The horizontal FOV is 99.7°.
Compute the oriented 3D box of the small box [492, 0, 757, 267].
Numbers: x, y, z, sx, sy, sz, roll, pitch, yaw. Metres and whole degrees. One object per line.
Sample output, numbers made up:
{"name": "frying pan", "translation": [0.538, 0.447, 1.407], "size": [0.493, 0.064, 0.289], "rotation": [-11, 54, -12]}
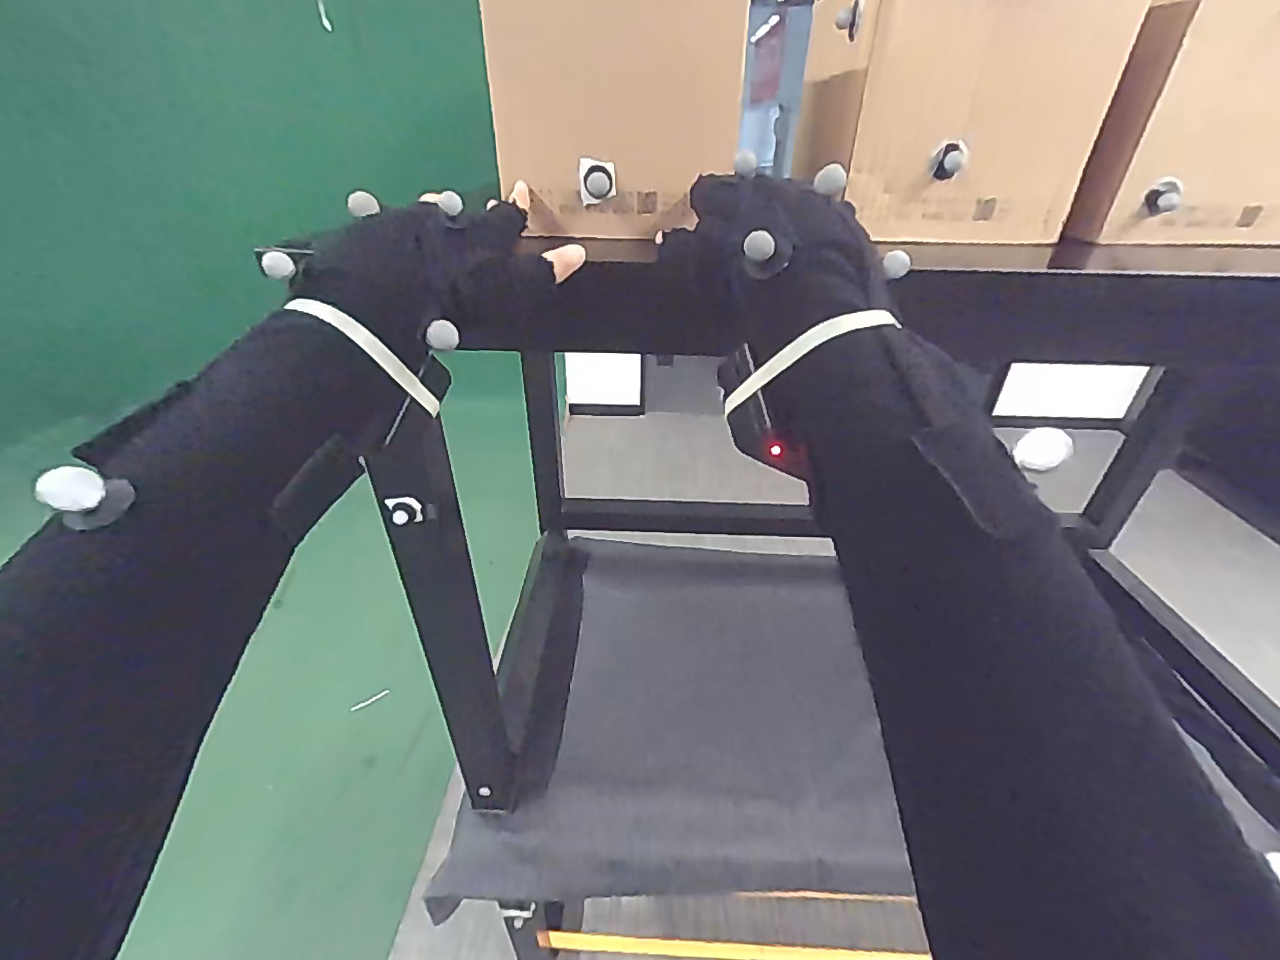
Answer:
{"name": "small box", "translation": [-0.010, -0.278, 0.432], "size": [0.168, 0.176, 0.179], "rotation": [0, 34, 1]}
